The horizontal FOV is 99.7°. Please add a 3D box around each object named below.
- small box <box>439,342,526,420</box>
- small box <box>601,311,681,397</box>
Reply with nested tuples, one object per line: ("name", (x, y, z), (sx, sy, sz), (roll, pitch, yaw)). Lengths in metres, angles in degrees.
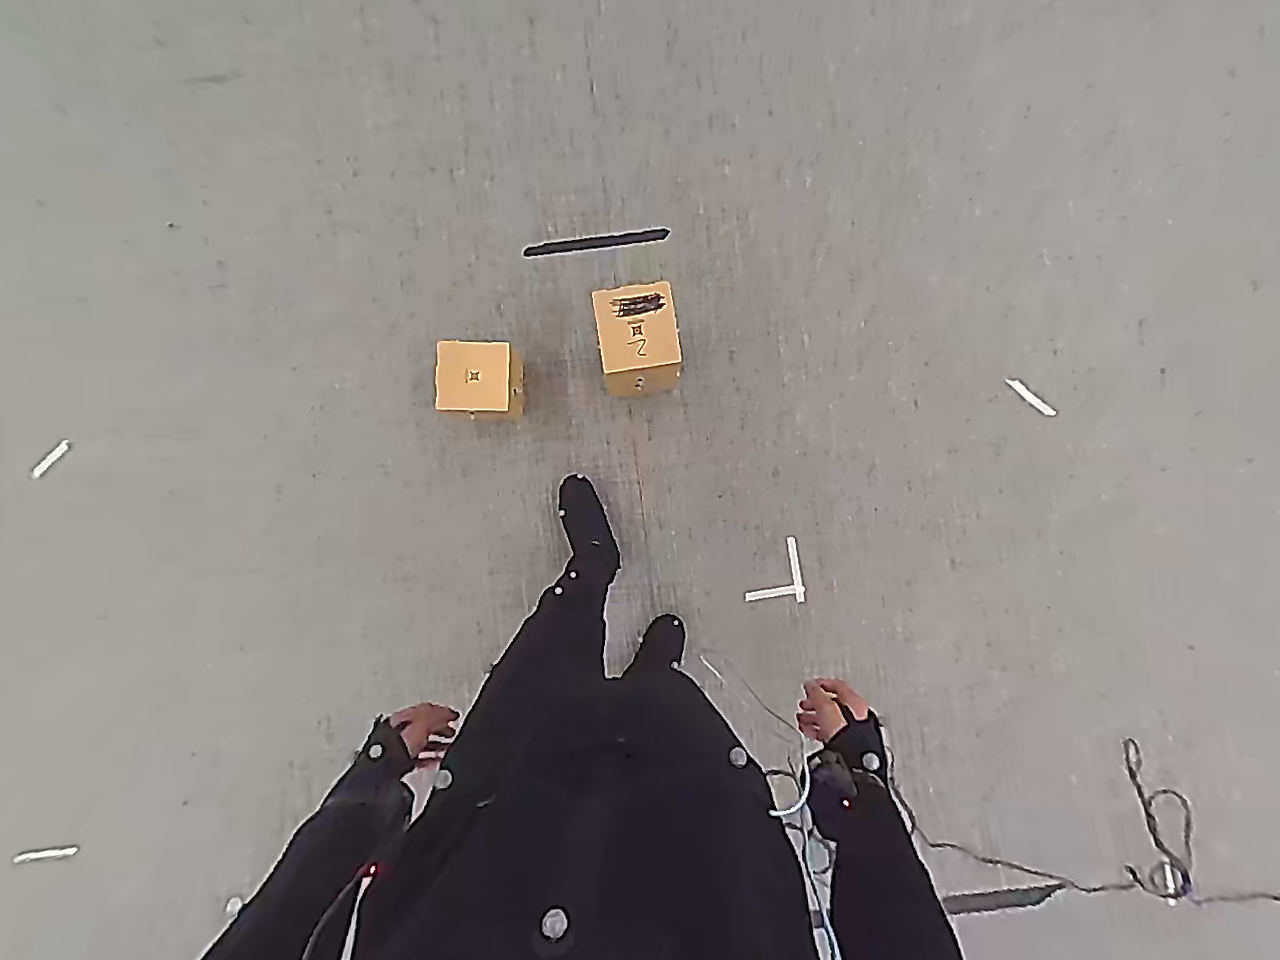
("small box", (-0.389, -0.244, 1.362), (0.179, 0.176, 0.168), (1, 89, 0))
("small box", (0.002, -0.311, 1.366), (0.179, 0.176, 0.168), (-8, 89, -2))
